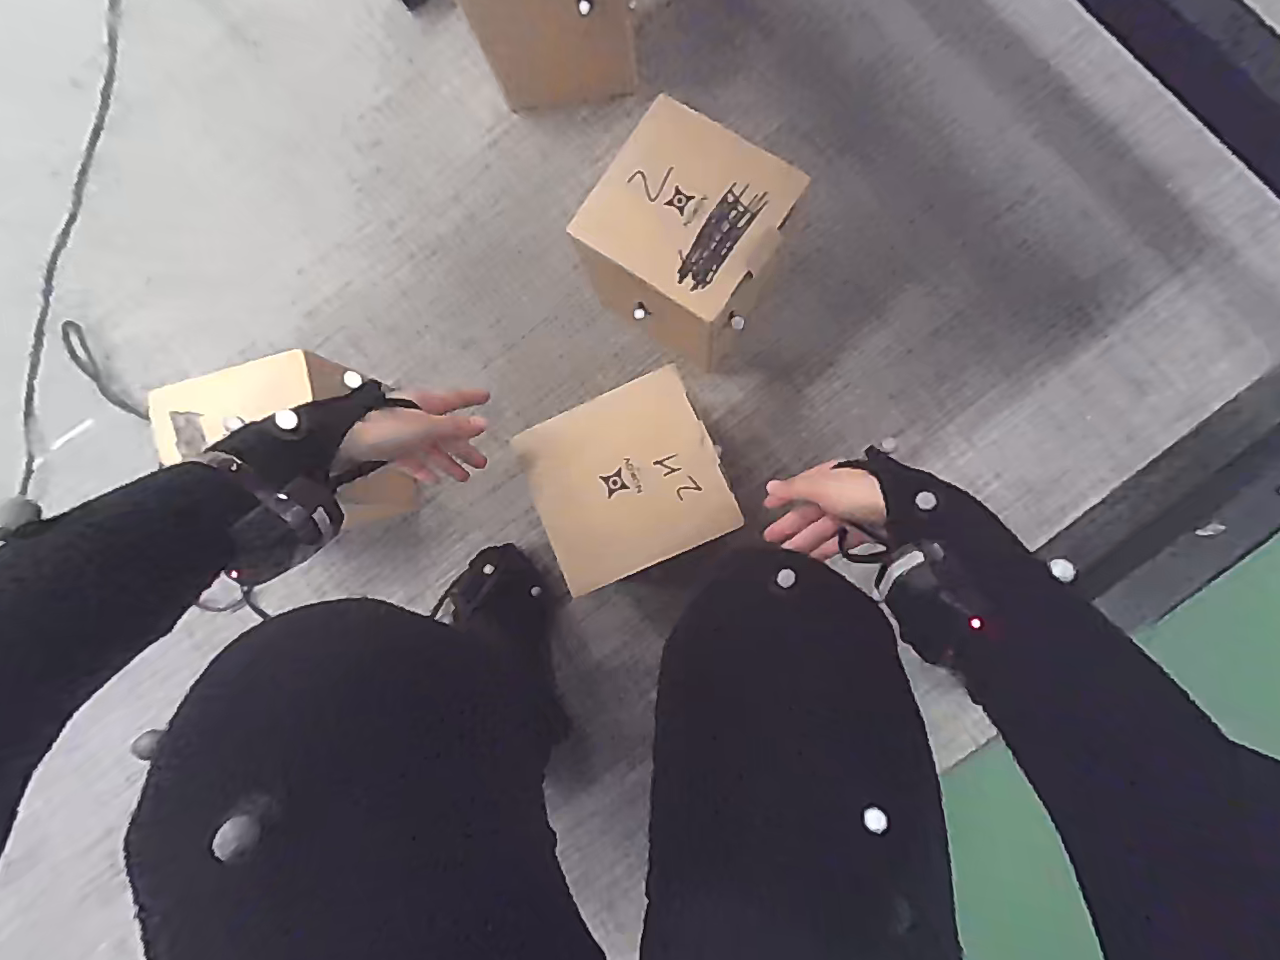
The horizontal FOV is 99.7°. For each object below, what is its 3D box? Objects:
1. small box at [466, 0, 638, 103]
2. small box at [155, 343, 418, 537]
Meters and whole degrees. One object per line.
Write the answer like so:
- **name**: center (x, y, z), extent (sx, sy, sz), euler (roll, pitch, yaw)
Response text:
- **small box**: center (-0.101, -0.582, 0.633), extent (0.179, 0.176, 0.168), euler (-5, 85, 5)
- **small box**: center (-0.387, -0.032, 0.616), extent (0.179, 0.176, 0.168), euler (-14, 84, 4)
